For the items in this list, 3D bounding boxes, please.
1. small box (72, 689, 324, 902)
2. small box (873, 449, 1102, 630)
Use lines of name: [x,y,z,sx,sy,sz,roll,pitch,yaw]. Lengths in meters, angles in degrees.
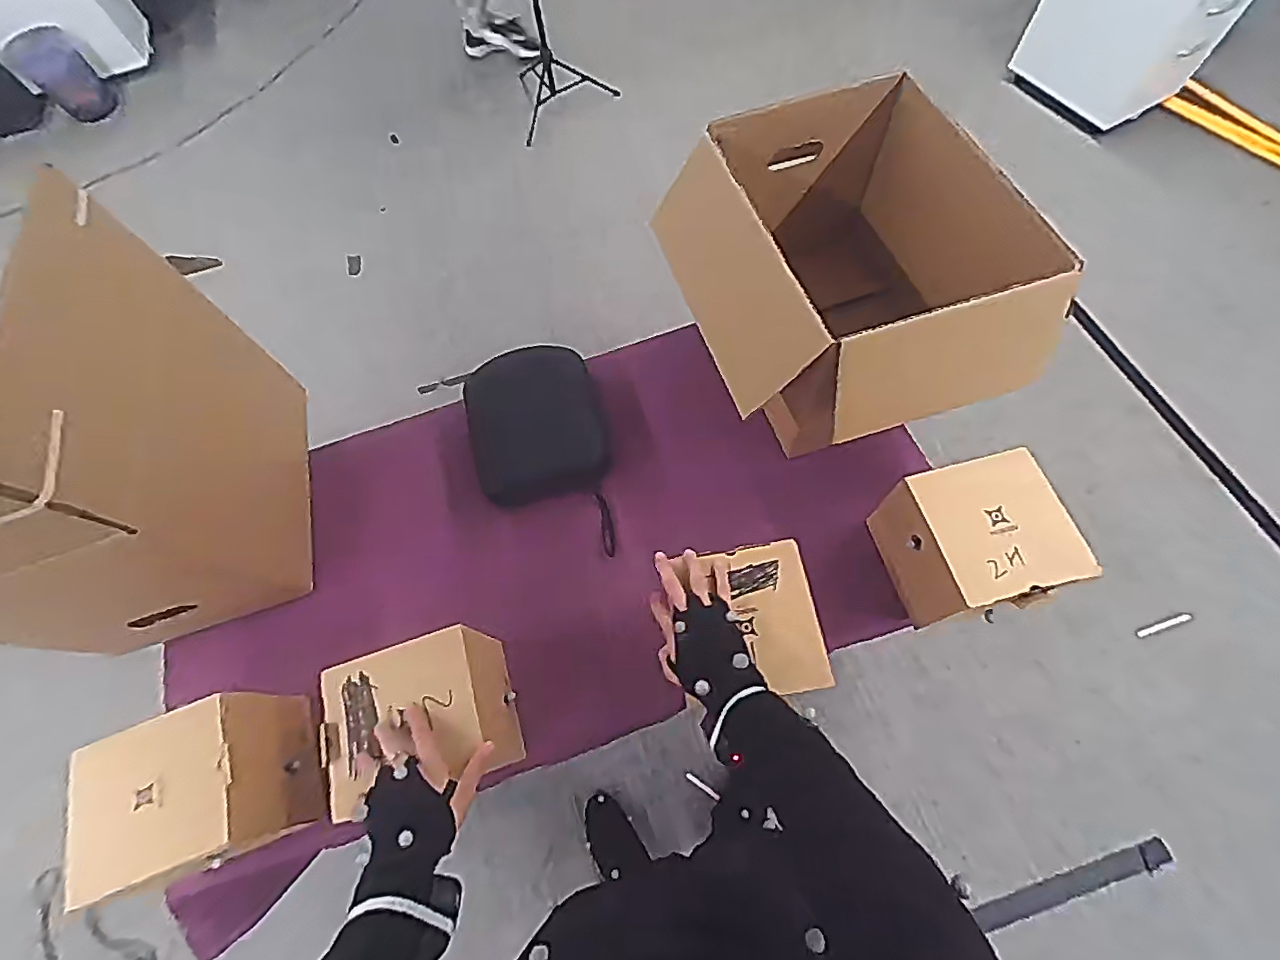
small box: [-0.538,0.381,0.679,0.179,0.176,0.168,-21,66,-6]
small box: [0.442,0.087,0.729,0.168,0.176,0.179,-14,66,-1]
